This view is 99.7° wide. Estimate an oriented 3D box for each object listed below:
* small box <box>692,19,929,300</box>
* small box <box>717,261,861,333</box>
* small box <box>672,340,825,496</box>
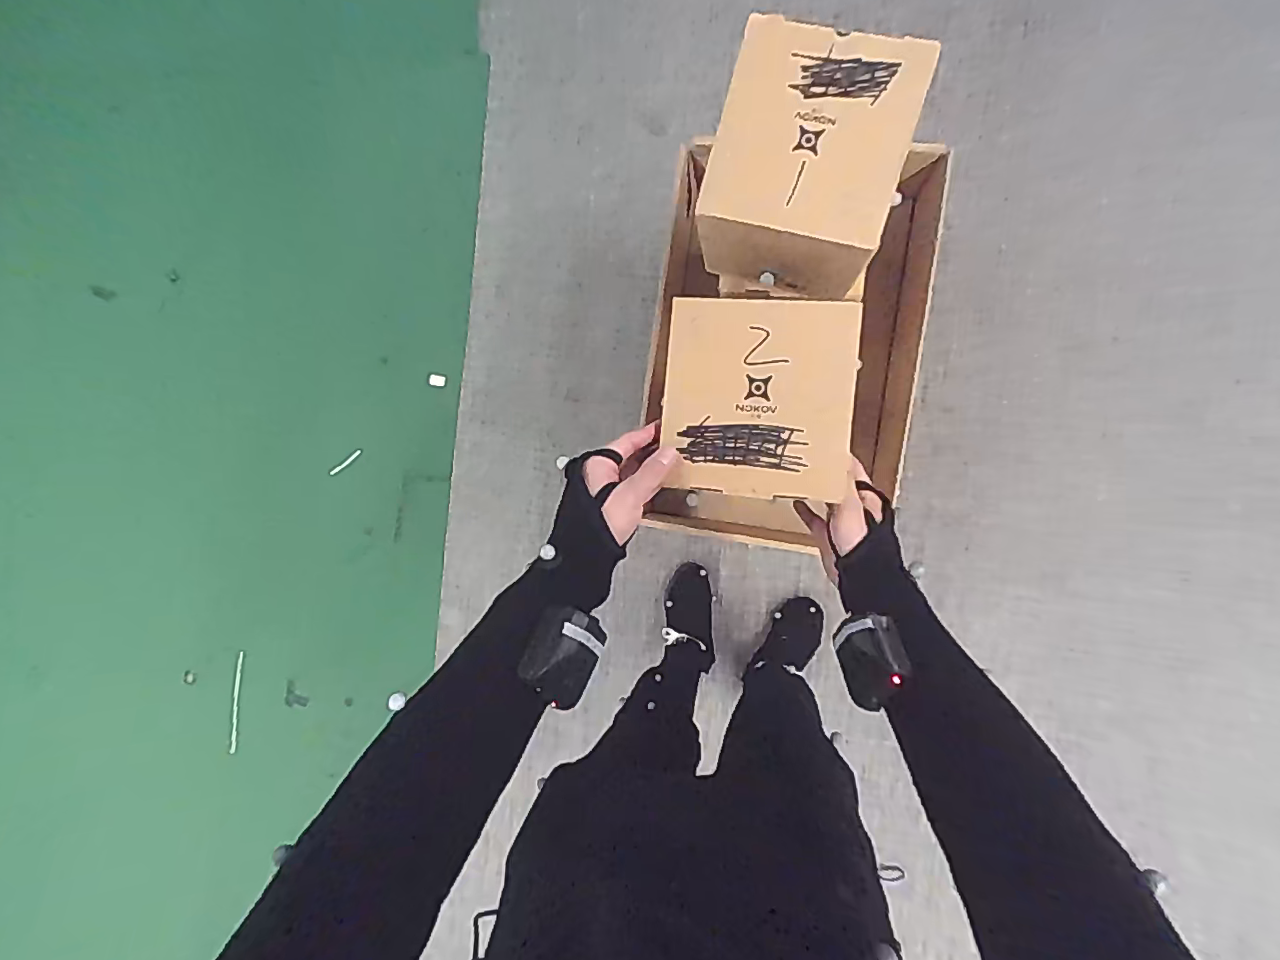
[{"bbox_3d":[0.160,-0.308,0.554,0.168,0.176,0.179,17,96,10],"label":"small box"},{"bbox_3d":[0.195,-0.308,0.715,0.168,0.176,0.179,7,94,10],"label":"small box"},{"bbox_3d":[0.143,-0.075,0.721,0.168,0.176,0.179,6,90,11],"label":"small box"}]
